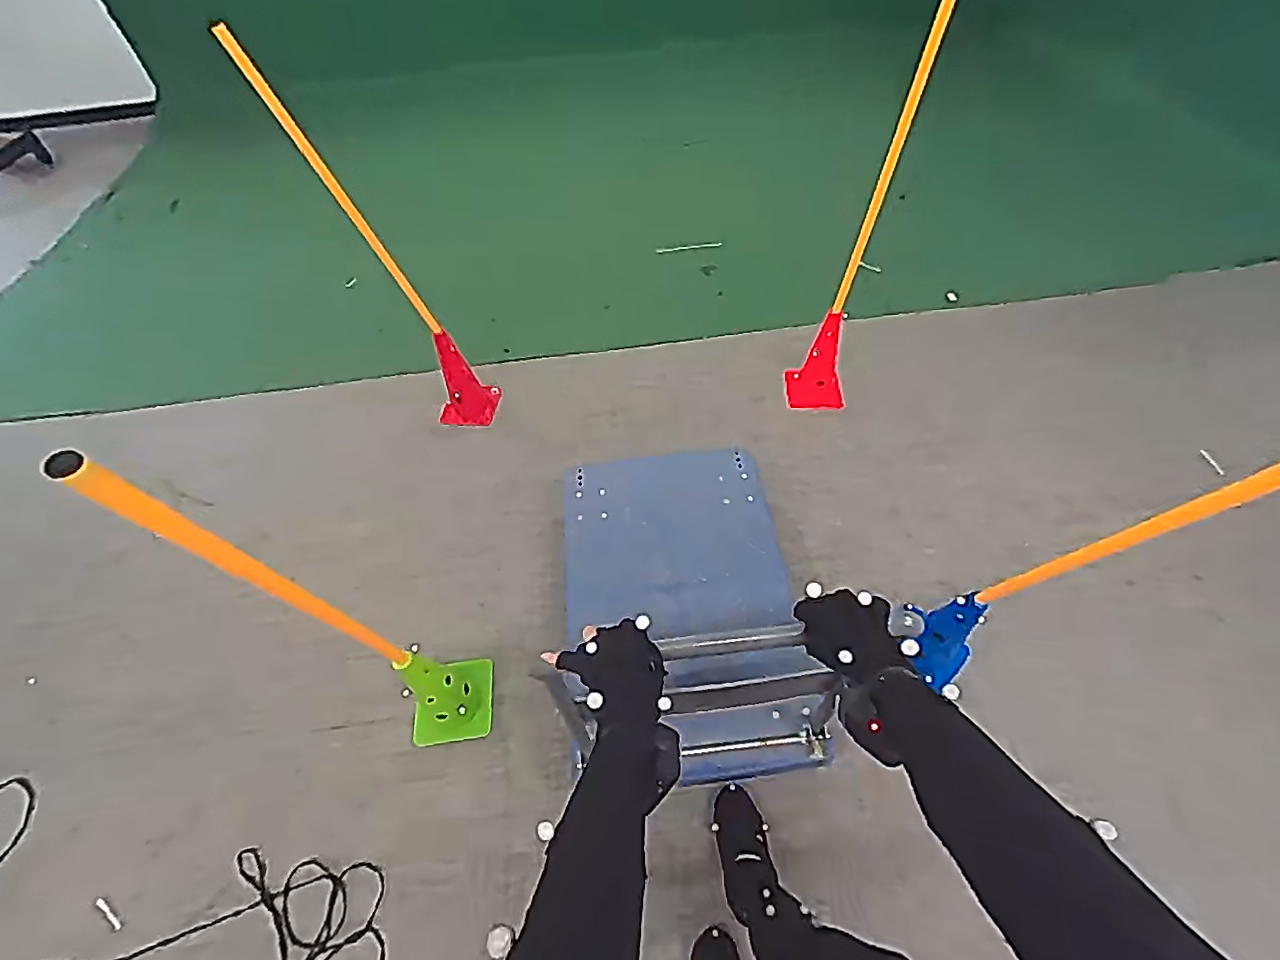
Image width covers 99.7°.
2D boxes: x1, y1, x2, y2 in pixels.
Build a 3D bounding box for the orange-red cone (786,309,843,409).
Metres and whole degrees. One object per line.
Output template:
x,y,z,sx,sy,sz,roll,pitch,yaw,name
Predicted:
0.639,-0.435,1.879,0.198,0.360,0.199,2,55,6,orange-red cone
